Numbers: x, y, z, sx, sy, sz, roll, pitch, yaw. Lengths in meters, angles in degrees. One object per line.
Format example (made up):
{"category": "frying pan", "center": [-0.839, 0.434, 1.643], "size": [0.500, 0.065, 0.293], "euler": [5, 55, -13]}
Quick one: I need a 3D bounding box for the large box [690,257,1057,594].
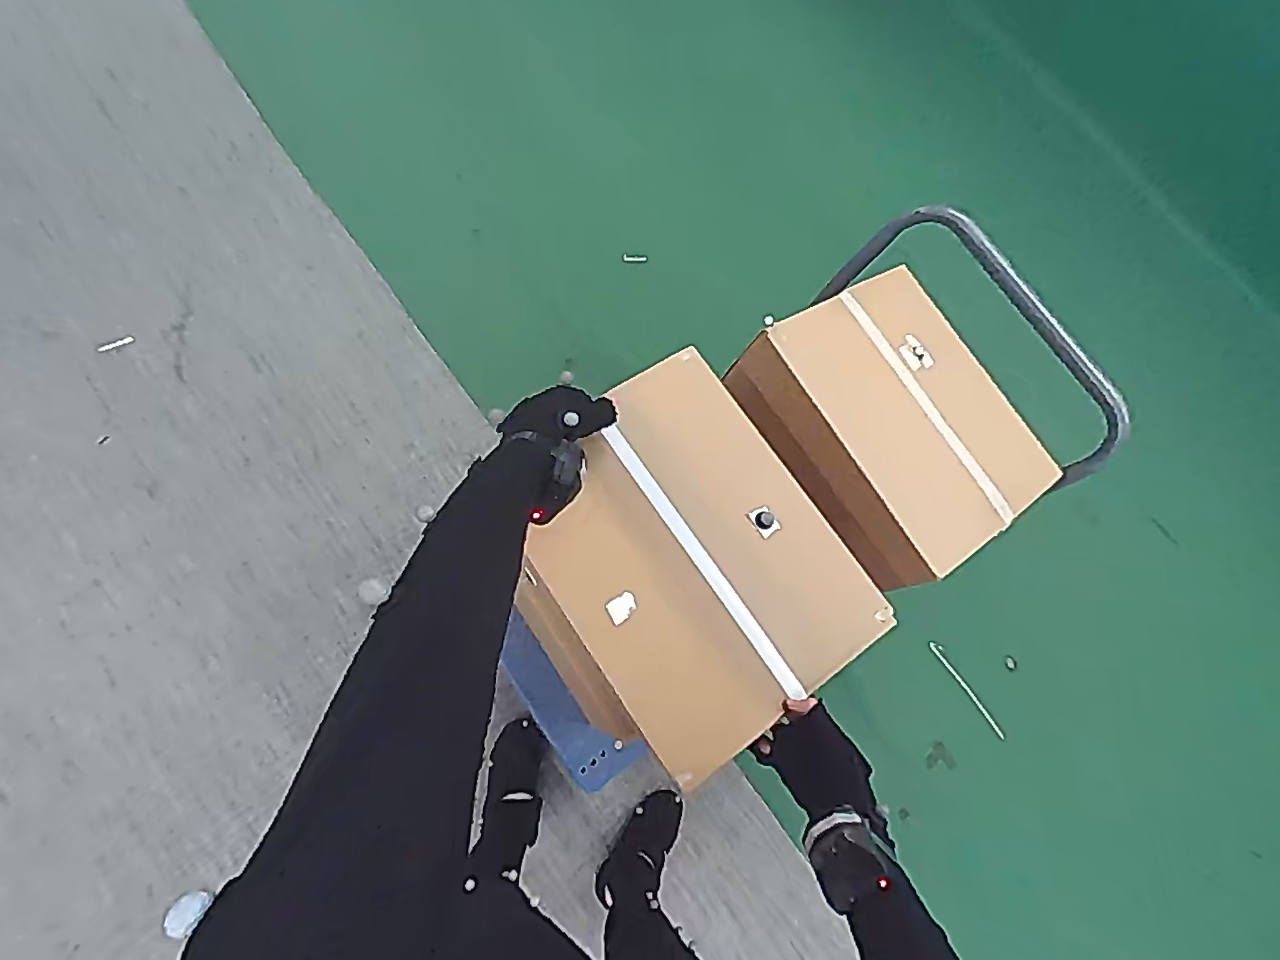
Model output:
{"category": "large box", "center": [0.349, -0.072, 0.902], "size": [0.320, 0.320, 0.408], "euler": [-28, 80, -22]}
